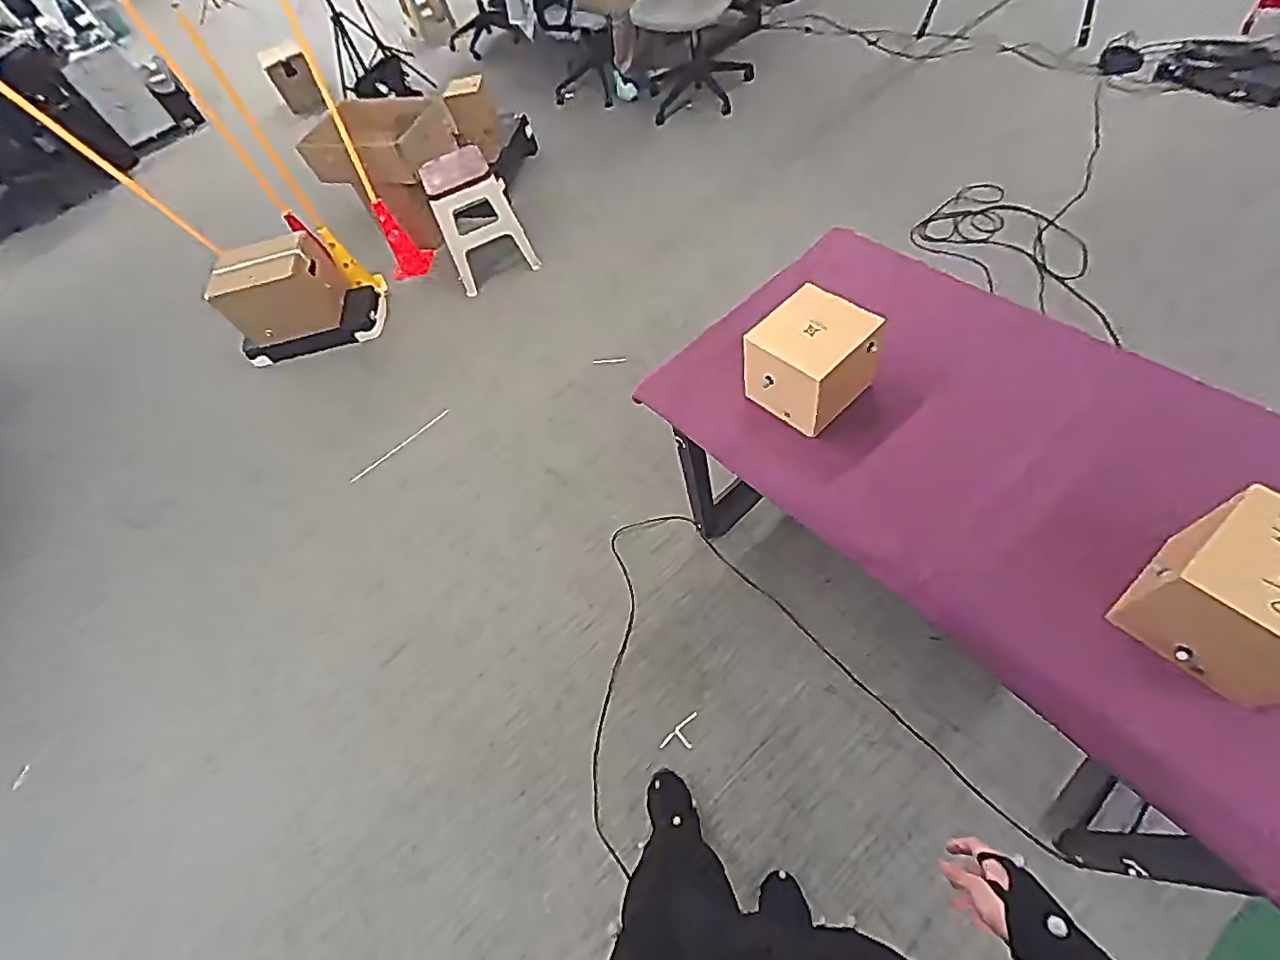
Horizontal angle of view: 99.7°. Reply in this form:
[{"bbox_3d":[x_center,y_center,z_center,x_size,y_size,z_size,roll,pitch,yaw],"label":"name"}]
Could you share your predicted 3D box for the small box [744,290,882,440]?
[{"bbox_3d":[0.312,-0.207,0.998,0.179,0.176,0.168,-41,59,-15],"label":"small box"}]
